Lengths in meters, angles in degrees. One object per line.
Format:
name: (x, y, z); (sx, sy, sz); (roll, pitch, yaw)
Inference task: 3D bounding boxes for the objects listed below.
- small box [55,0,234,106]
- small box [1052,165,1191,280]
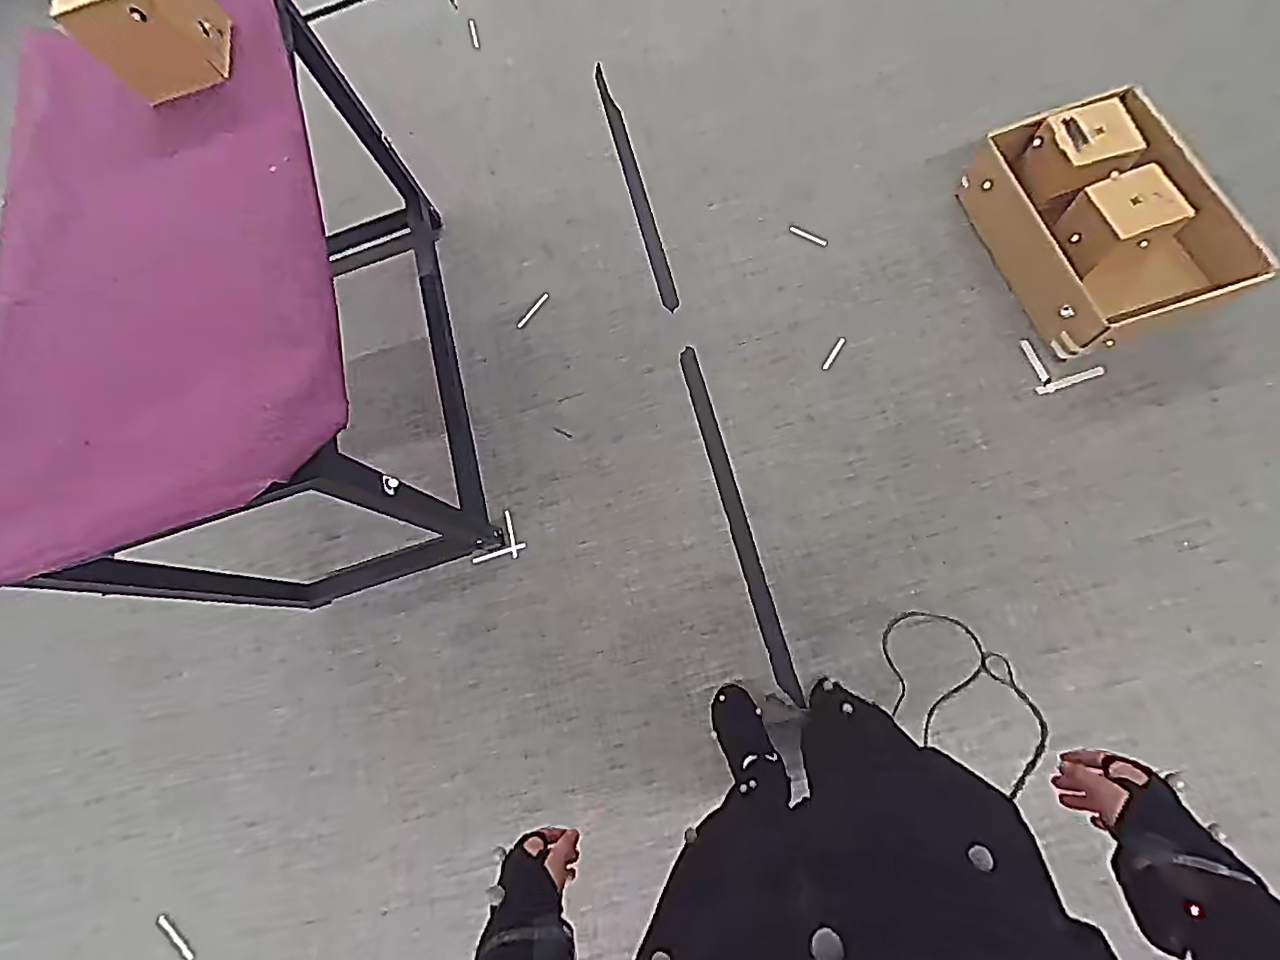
small box: (-0.909, -0.844, 1.006); (0.179, 0.176, 0.168); (-13, 73, 6)
small box: (1.181, -0.632, 1.350); (0.179, 0.176, 0.168); (-18, 72, 3)
